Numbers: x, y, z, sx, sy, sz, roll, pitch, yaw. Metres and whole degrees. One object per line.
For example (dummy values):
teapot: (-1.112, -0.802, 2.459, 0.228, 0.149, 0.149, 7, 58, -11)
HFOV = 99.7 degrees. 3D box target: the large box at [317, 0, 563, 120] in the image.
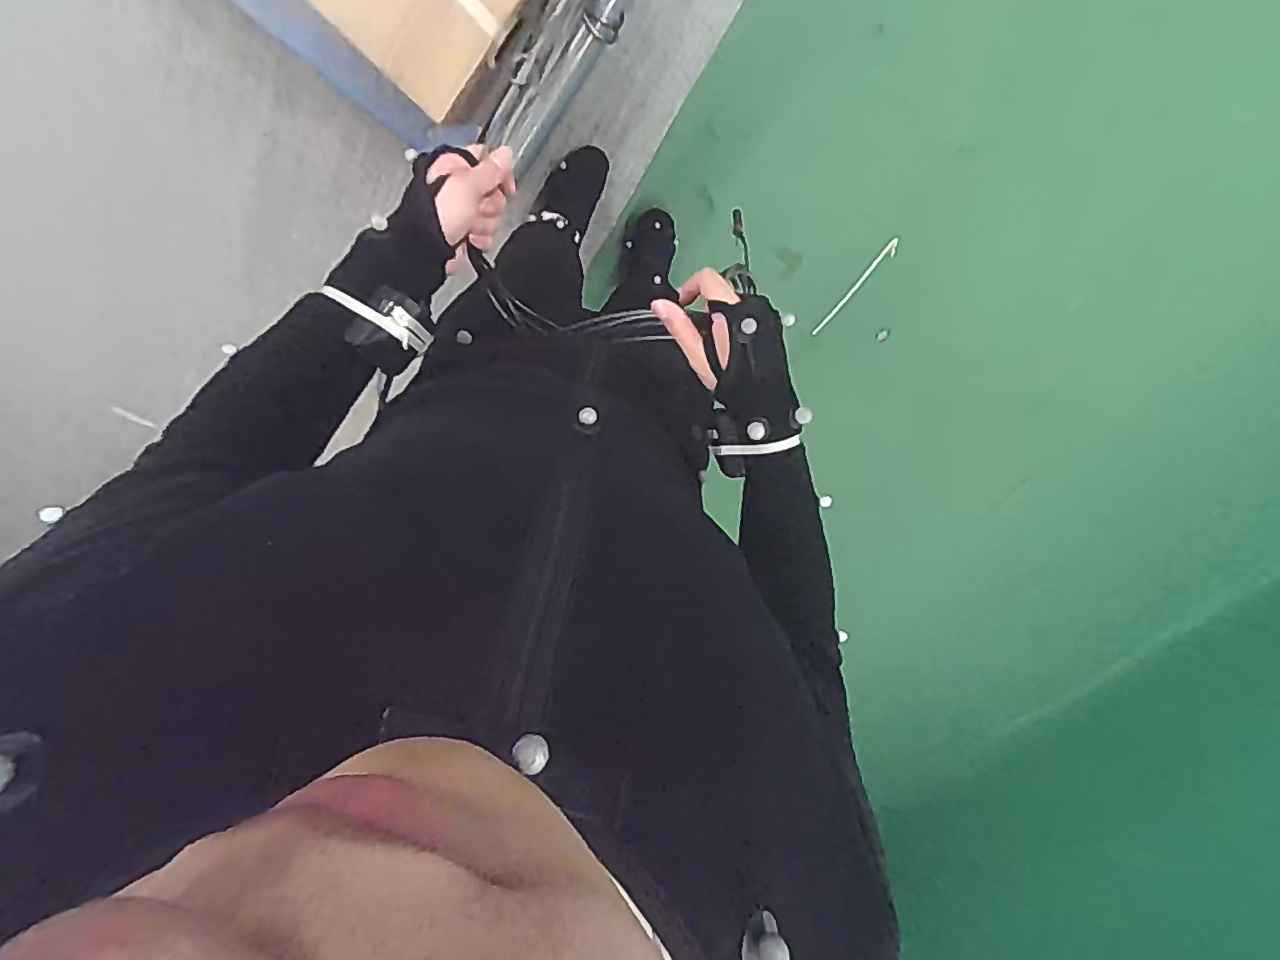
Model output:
large box: (-0.343, -0.841, 0.822, 0.408, 0.320, 0.320, 38, 114, -25)
